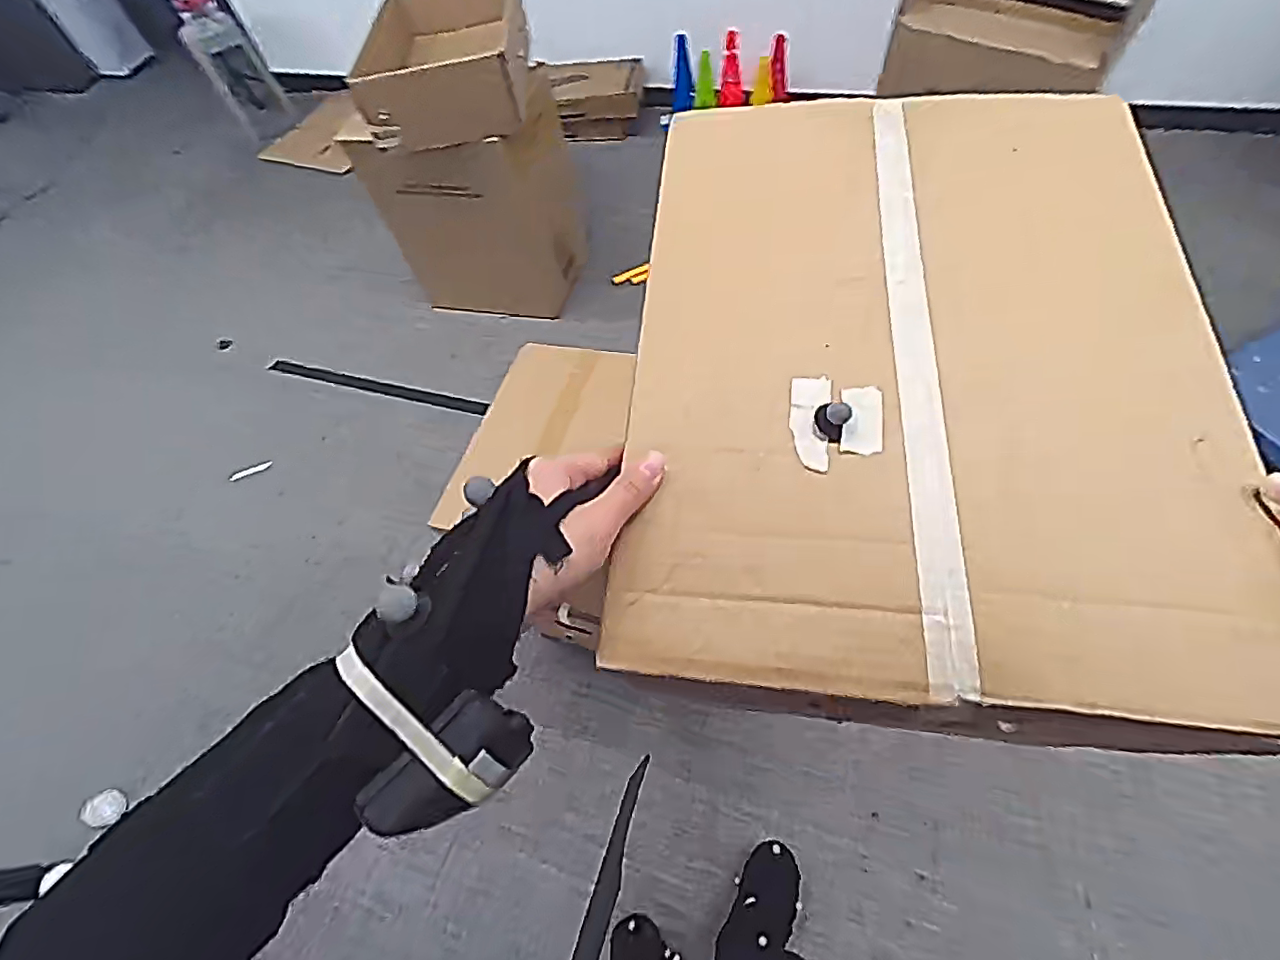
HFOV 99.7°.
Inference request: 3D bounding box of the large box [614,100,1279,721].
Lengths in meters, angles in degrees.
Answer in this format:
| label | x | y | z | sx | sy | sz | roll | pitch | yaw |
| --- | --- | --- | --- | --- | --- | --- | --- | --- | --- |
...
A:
| label | x | y | z | sx | sy | sz | roll | pitch | yaw |
| --- | --- | --- | --- | --- | --- | --- | --- | --- | --- |
| large box | 0.167 | -0.032 | 0.453 | 0.320 | 0.320 | 0.408 | 2 | 67 | 8 |
